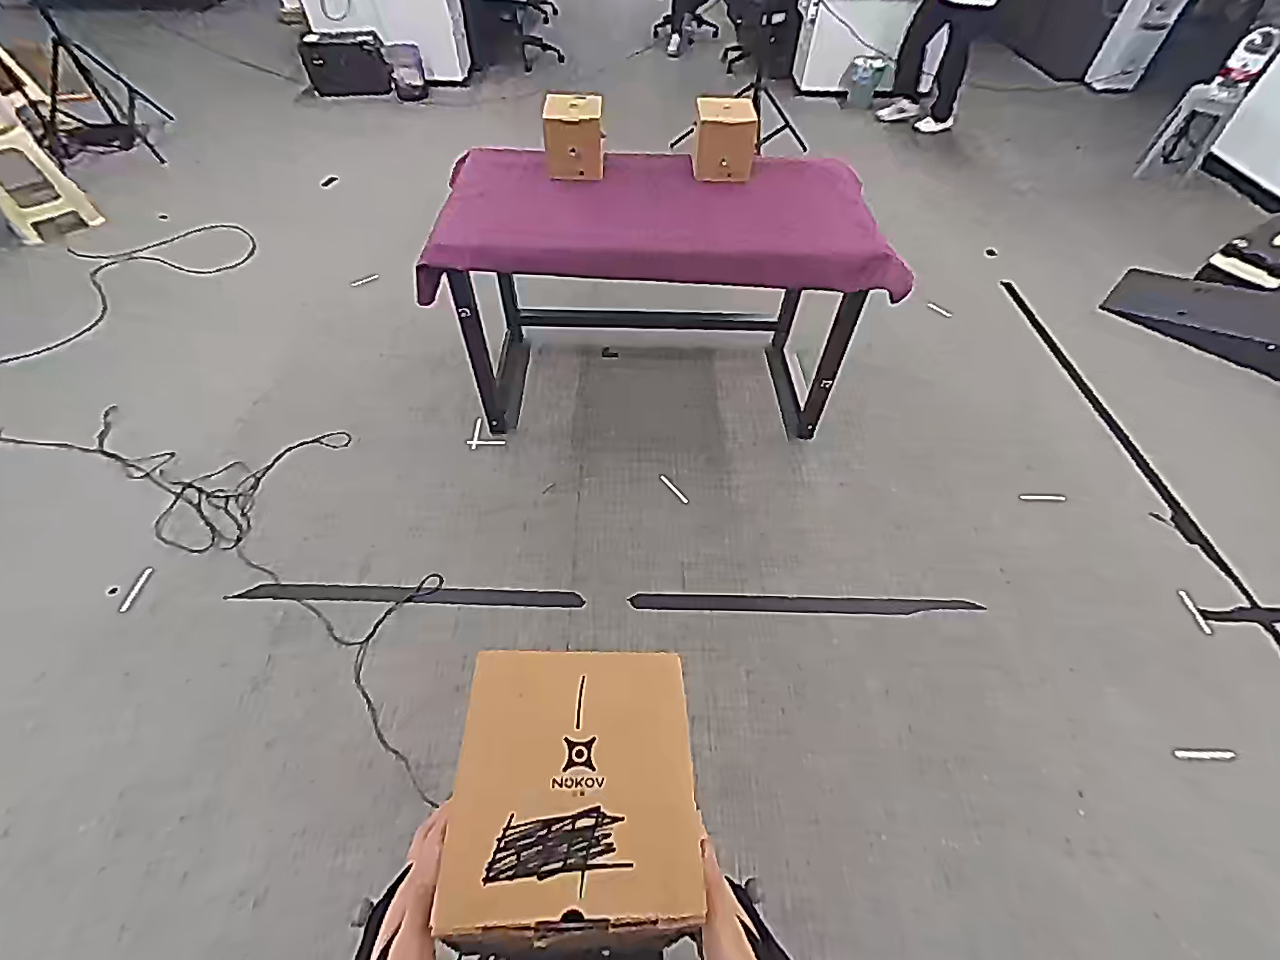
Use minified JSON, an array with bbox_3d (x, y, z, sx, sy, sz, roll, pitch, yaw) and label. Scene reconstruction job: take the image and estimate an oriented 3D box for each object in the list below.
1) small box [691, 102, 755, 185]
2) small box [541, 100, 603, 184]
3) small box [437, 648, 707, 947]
[{"bbox_3d":[0.248,-1.028,1.653,0.168,0.176,0.179,0,53,0],"label":"small box"},{"bbox_3d":[-0.200,-1.021,1.637,0.168,0.176,0.179,0,54,-2],"label":"small box"},{"bbox_3d":[-0.049,0.257,0.436,0.168,0.176,0.179,3,44,-6],"label":"small box"}]
